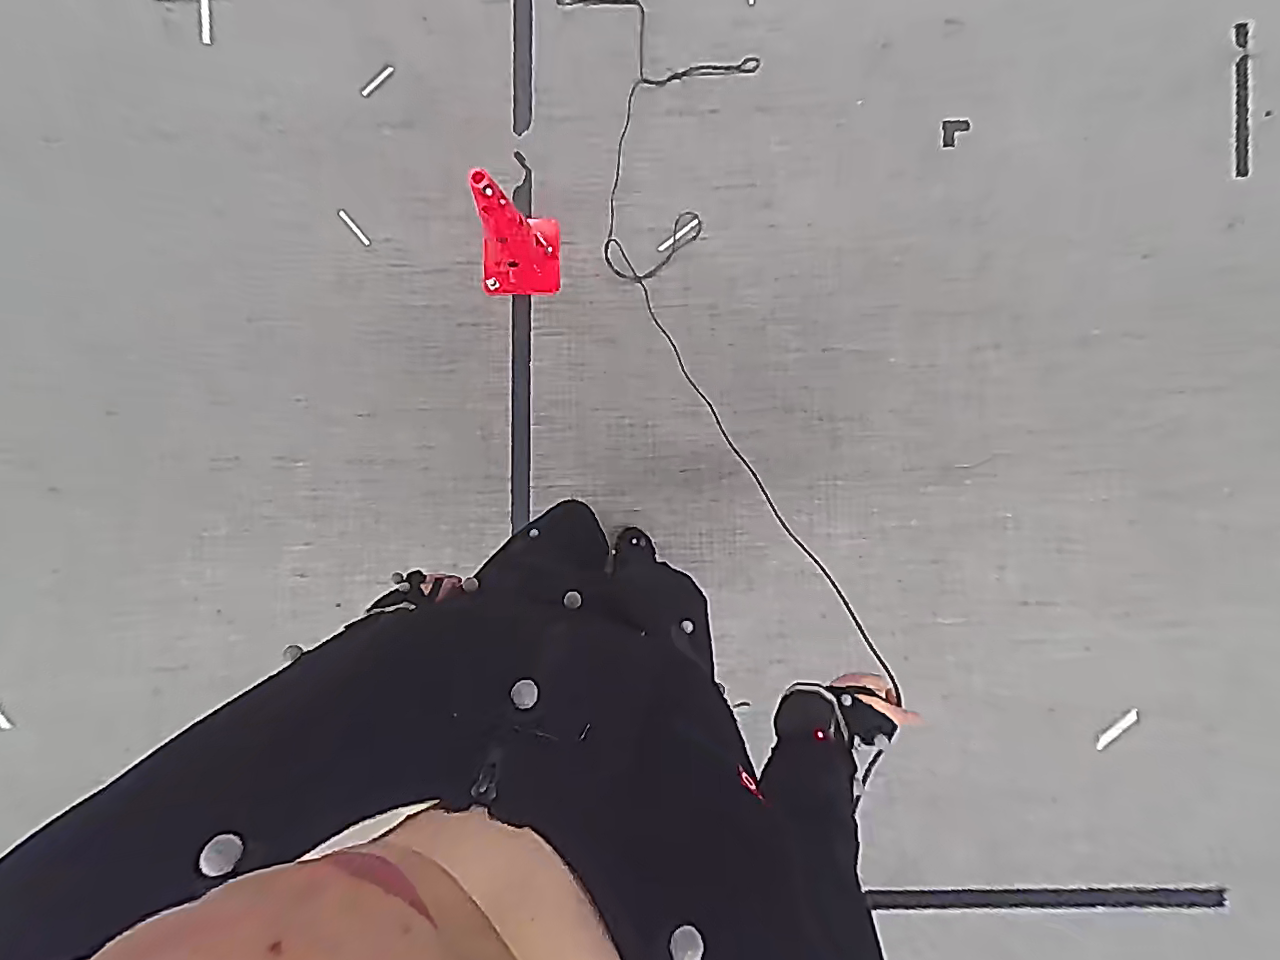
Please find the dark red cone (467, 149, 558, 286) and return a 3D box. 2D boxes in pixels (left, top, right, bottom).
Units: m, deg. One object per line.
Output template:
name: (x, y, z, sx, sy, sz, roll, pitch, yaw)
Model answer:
dark red cone: (-0.310, -0.595, 1.210, 0.201, 0.394, 0.202, -1, 88, 0)
